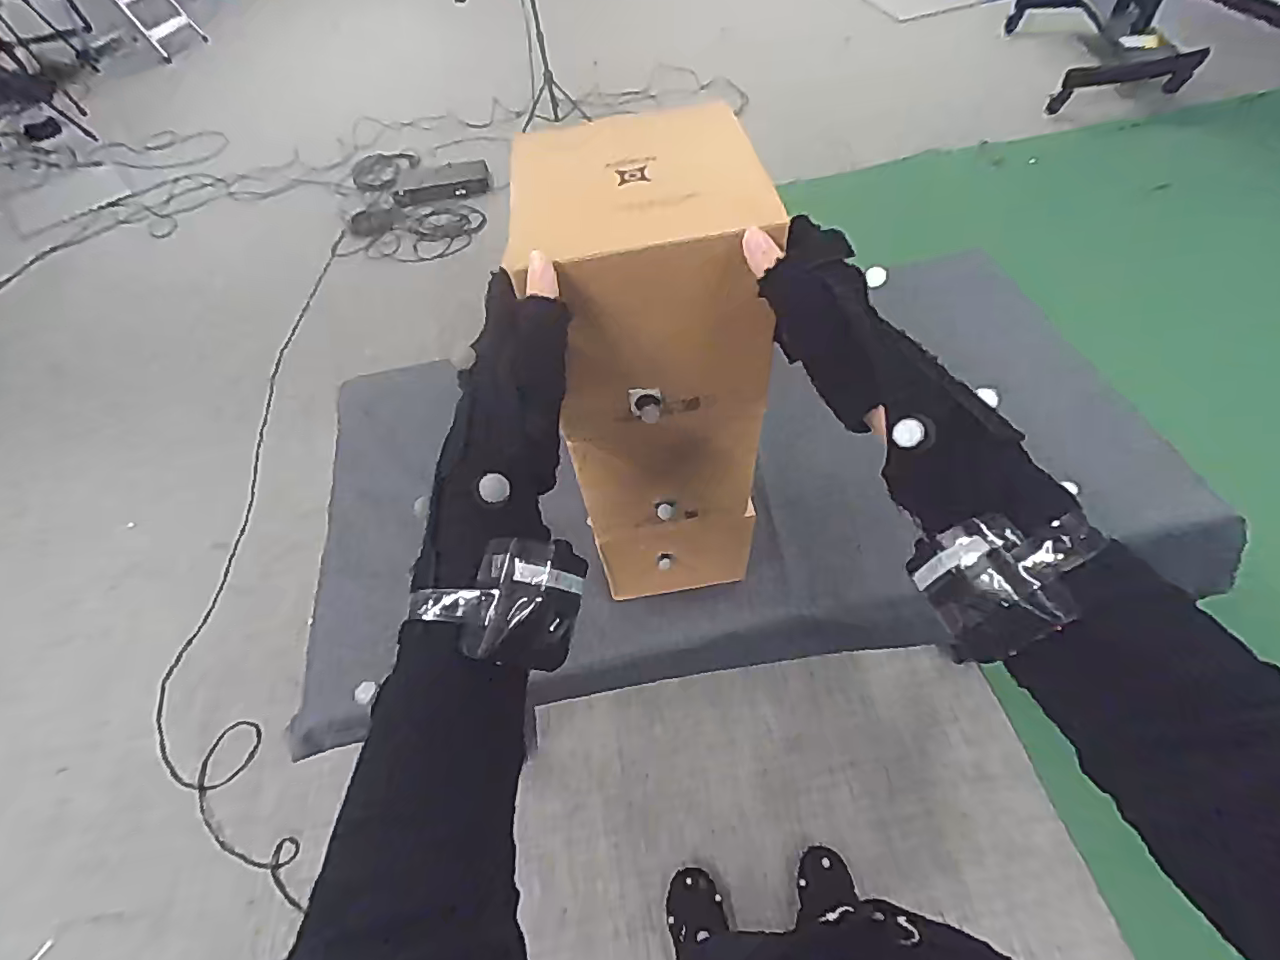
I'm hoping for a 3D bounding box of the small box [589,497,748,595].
[{"bbox_3d":[0.032,0.034,0.692,0.179,0.176,0.168,-9,55,0],"label":"small box"}]

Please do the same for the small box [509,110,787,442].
[{"bbox_3d":[0.003,-0.155,0.426,0.168,0.176,0.179,-8,55,1],"label":"small box"}]

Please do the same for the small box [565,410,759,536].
[{"bbox_3d":[0.015,-0.064,0.561,0.168,0.176,0.179,-8,56,0],"label":"small box"}]
